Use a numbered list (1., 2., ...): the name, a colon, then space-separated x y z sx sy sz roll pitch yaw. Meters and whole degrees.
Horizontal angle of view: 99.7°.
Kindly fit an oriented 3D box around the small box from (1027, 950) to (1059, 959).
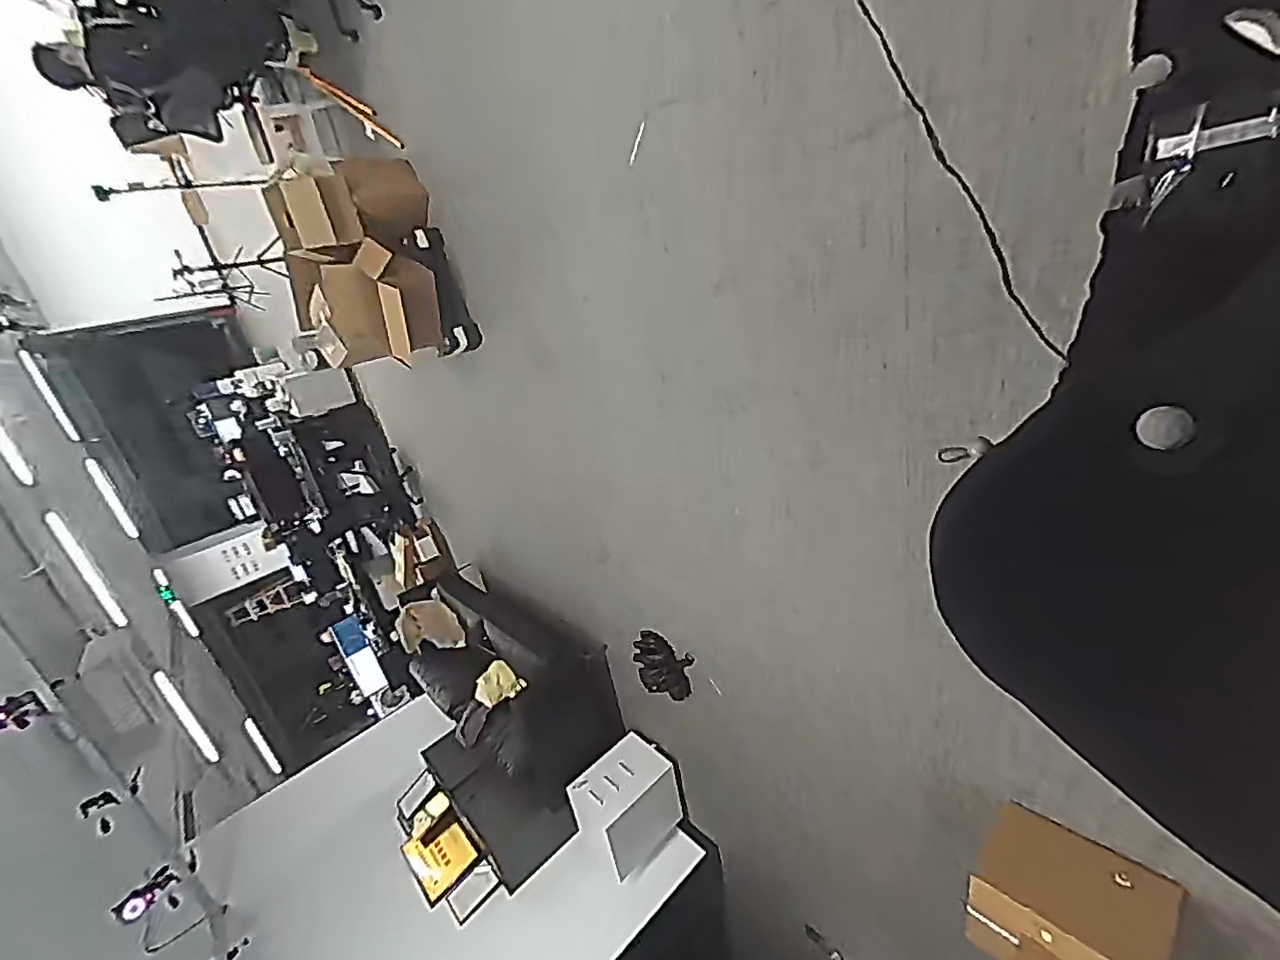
1. small box: 1.066 1.363 1.380 0.179 0.176 0.168 21 124 44
